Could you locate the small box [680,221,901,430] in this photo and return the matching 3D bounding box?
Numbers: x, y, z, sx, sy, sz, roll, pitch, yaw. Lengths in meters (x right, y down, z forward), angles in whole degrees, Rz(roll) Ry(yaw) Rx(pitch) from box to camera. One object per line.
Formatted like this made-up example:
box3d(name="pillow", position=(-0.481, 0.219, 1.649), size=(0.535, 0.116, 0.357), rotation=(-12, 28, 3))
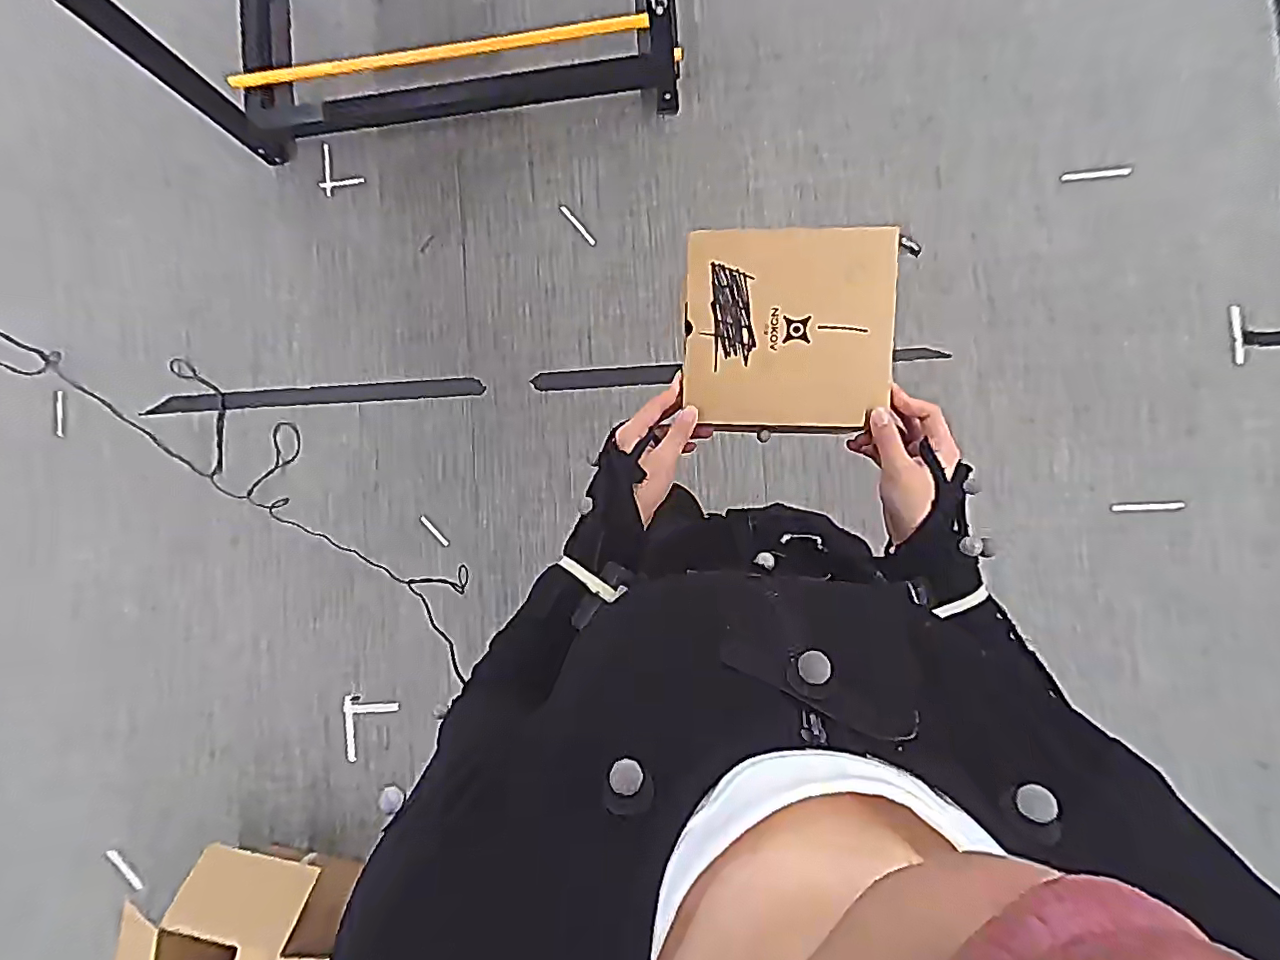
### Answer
box3d(name="small box", position=(0.135, -0.135, 0.533), size=(0.179, 0.176, 0.168), rotation=(2, 94, 8))
